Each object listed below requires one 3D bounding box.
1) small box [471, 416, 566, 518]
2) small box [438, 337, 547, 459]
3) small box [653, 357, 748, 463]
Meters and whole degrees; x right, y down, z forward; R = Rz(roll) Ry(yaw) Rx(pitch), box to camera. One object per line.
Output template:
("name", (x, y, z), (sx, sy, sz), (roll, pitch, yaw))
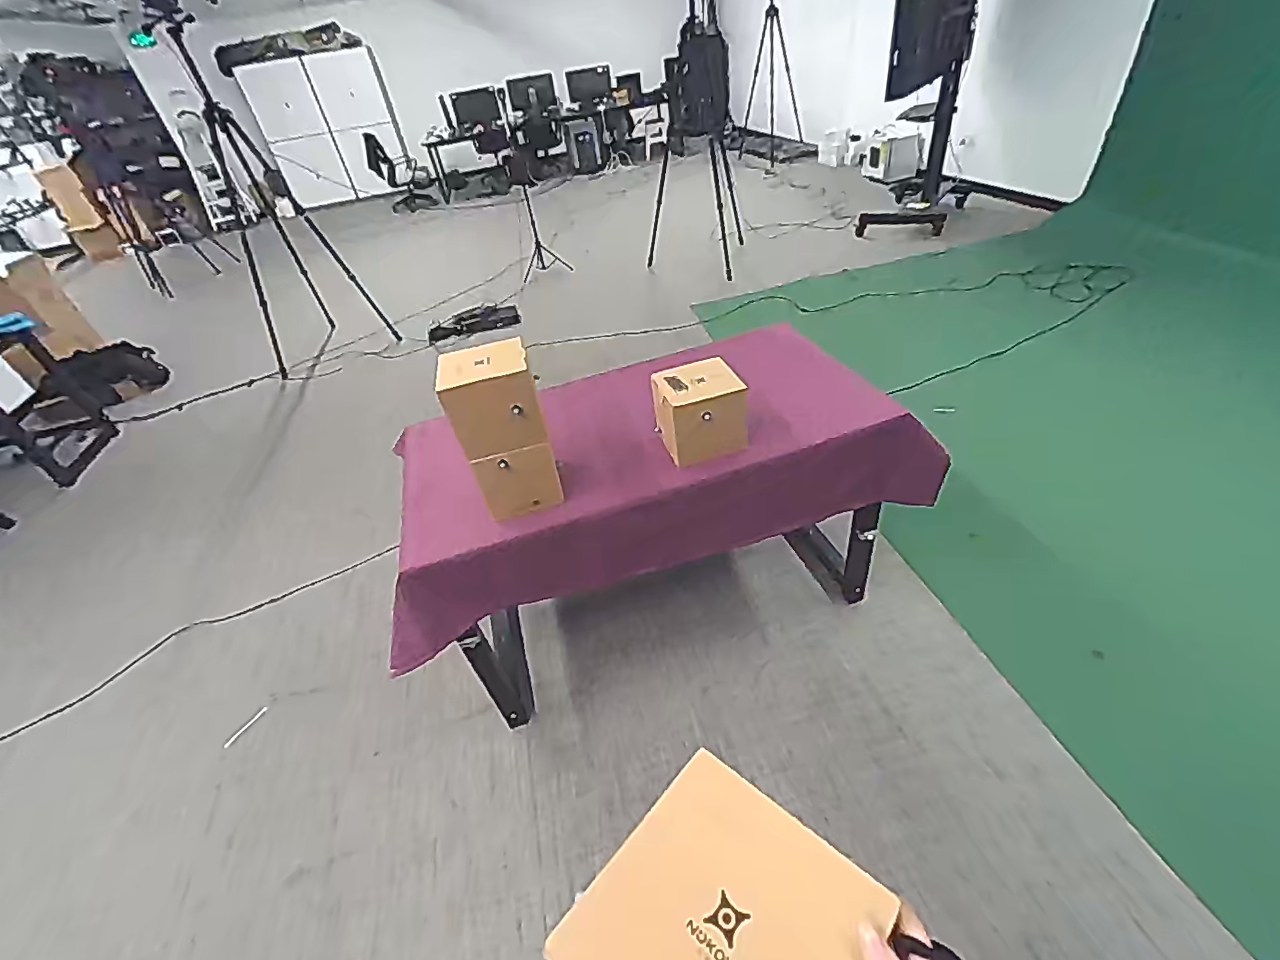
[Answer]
("small box", (-0.273, -0.043, 1.217), (0.168, 0.176, 0.179), (-16, 39, -6))
("small box", (-0.295, -0.168, 1.114), (0.179, 0.176, 0.168), (-15, 39, -5))
("small box", (0.144, -0.161, 1.267), (0.179, 0.176, 0.168), (-16, 40, -7))
